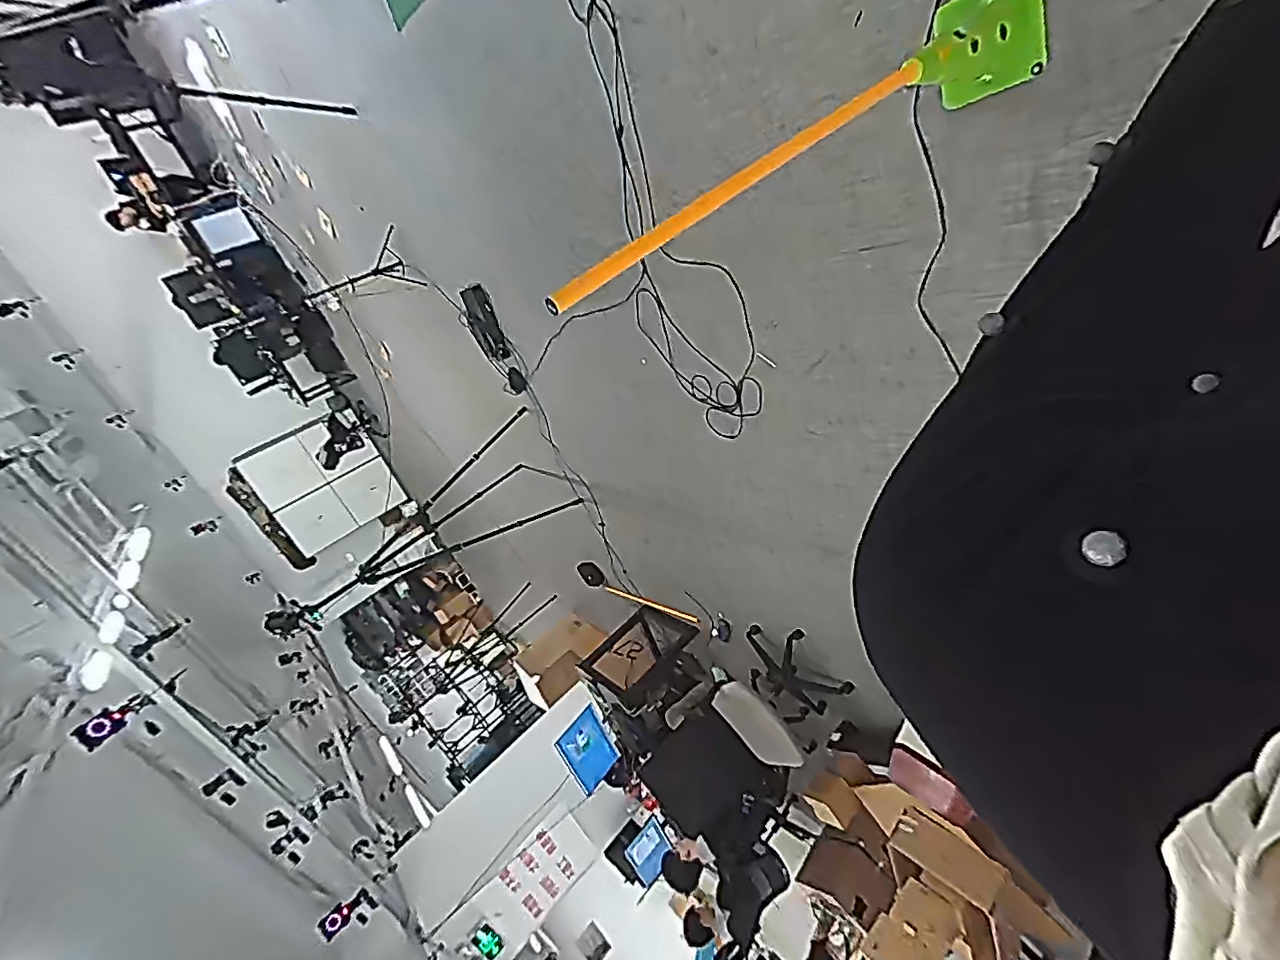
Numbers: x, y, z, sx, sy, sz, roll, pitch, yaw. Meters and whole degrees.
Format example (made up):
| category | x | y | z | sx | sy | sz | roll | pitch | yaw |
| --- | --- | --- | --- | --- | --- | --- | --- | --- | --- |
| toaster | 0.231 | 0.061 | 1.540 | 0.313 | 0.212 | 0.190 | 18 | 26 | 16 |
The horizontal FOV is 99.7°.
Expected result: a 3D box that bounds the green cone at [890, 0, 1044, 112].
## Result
| category | x | y | z | sx | sy | sz | roll | pitch | yaw |
| --- | --- | --- | --- | --- | --- | --- | --- | --- | --- |
| green cone | 0.611 | -0.834 | 1.071 | 0.202 | 0.368 | 0.200 | 11 | 131 | 54 |
